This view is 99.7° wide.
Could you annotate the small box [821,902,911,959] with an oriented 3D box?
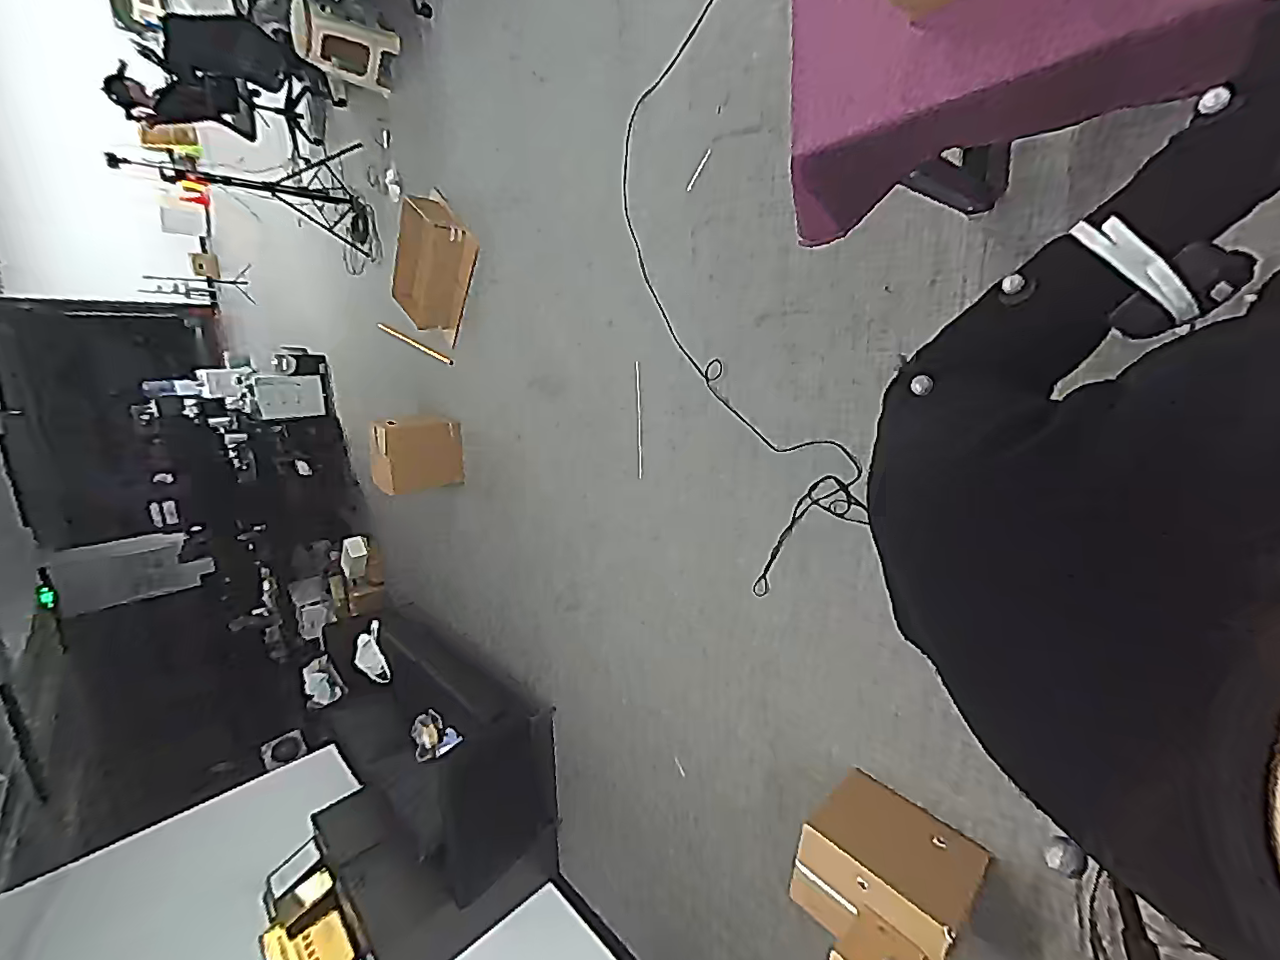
[{"bbox_3d":[0.576,1.254,1.392,0.168,0.176,0.179,20,117,42],"label":"small box"}]
